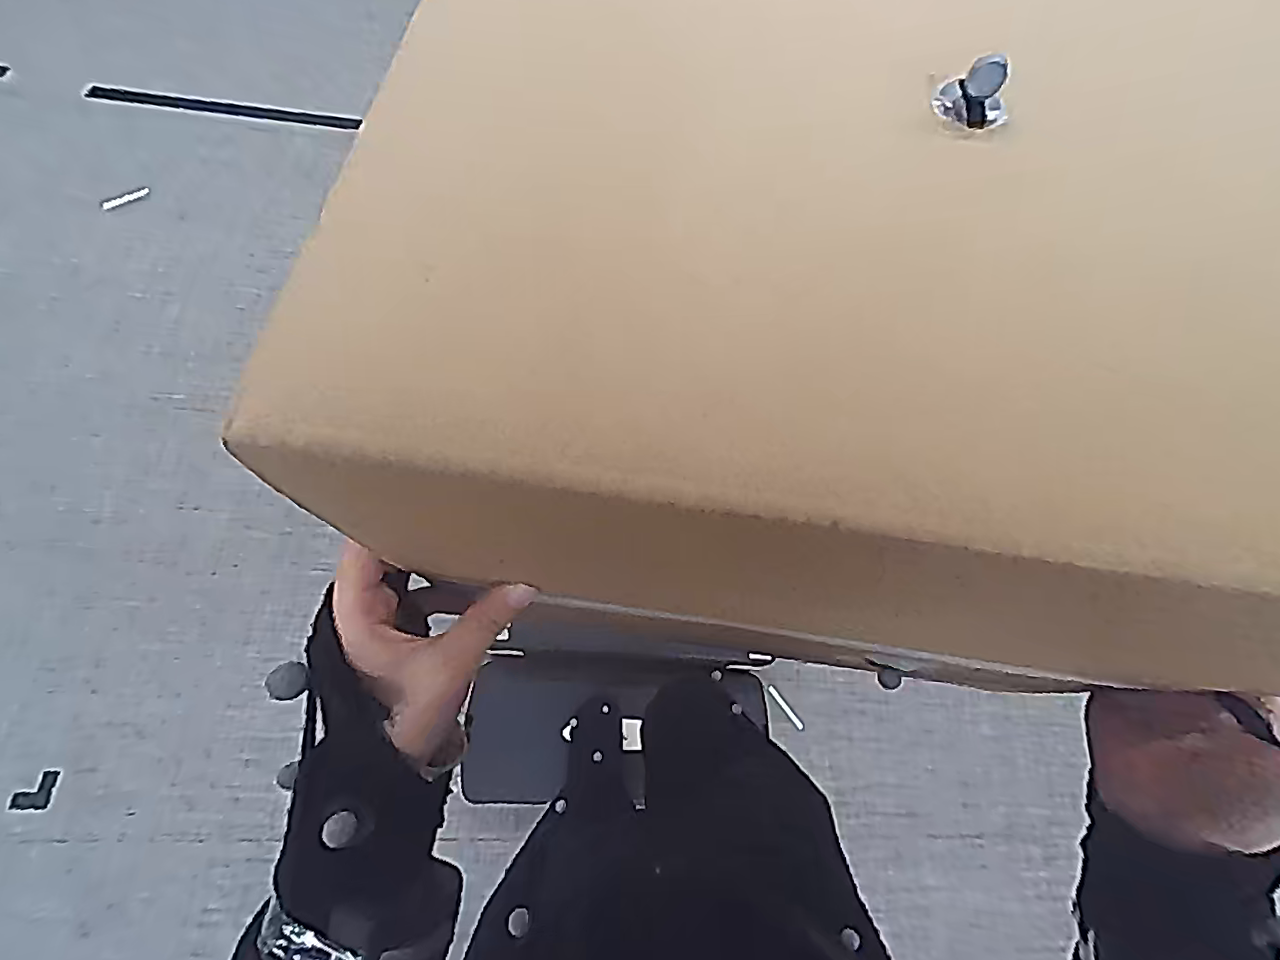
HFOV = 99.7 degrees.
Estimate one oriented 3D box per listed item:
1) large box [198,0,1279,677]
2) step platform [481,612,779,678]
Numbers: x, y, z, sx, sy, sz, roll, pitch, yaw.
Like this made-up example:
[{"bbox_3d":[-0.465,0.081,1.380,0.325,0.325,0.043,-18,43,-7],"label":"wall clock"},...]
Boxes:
[{"bbox_3d":[0.089,-0.072,0.327,0.408,0.320,0.320,7,70,0],"label":"large box"},{"bbox_3d":[-0.015,0.270,1.265,0.684,0.204,0.286,10,69,-4],"label":"step platform"}]
